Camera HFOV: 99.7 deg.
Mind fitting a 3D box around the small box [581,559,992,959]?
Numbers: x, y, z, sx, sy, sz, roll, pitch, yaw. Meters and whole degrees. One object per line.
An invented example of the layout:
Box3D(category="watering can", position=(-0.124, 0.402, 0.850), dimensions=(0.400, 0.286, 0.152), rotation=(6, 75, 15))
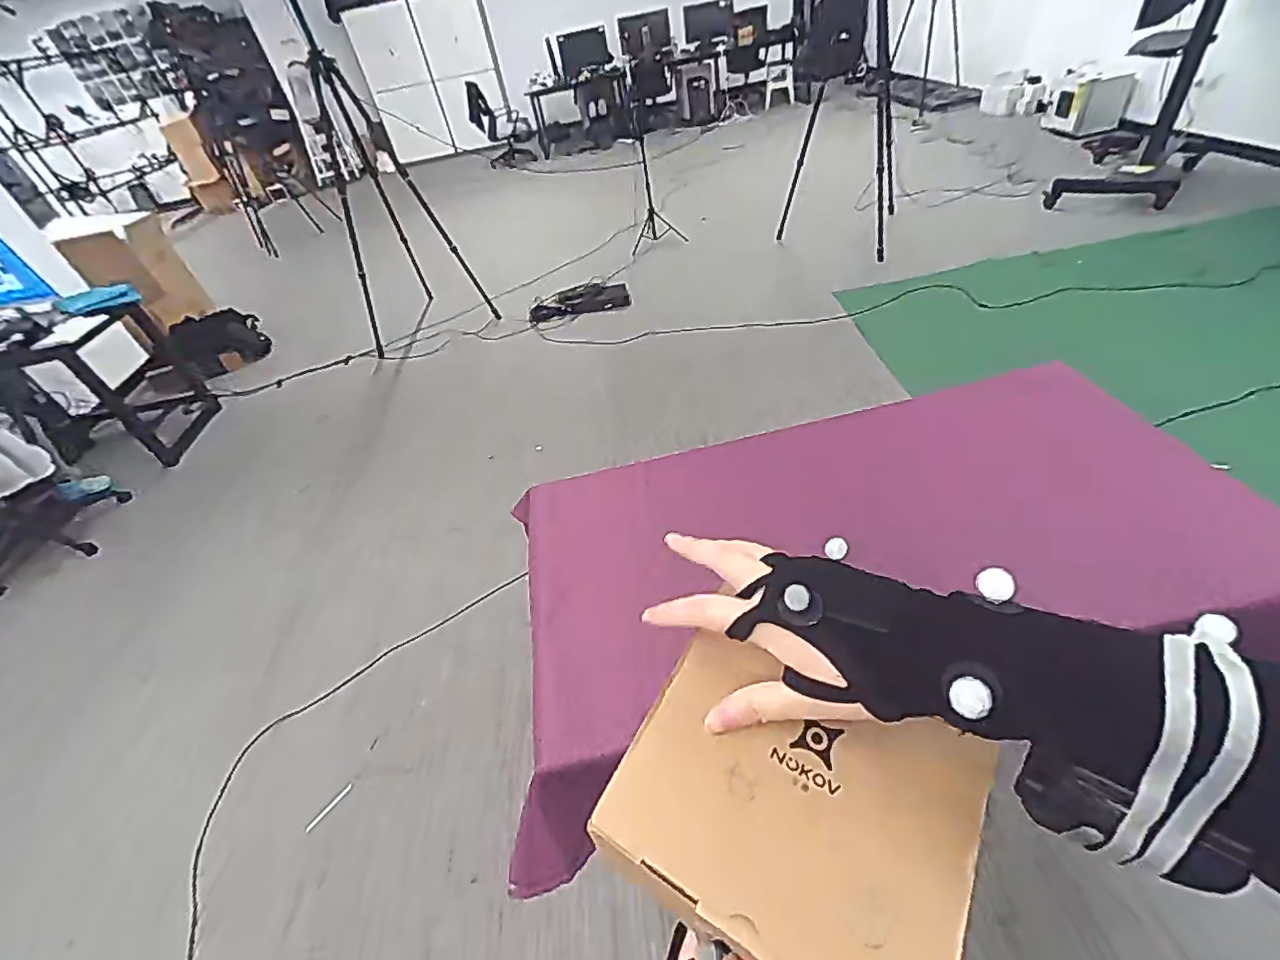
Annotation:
Box3D(category="small box", position=(0.085, 0.192, 0.349), dimensions=(0.168, 0.176, 0.179), rotation=(27, 56, 20))
